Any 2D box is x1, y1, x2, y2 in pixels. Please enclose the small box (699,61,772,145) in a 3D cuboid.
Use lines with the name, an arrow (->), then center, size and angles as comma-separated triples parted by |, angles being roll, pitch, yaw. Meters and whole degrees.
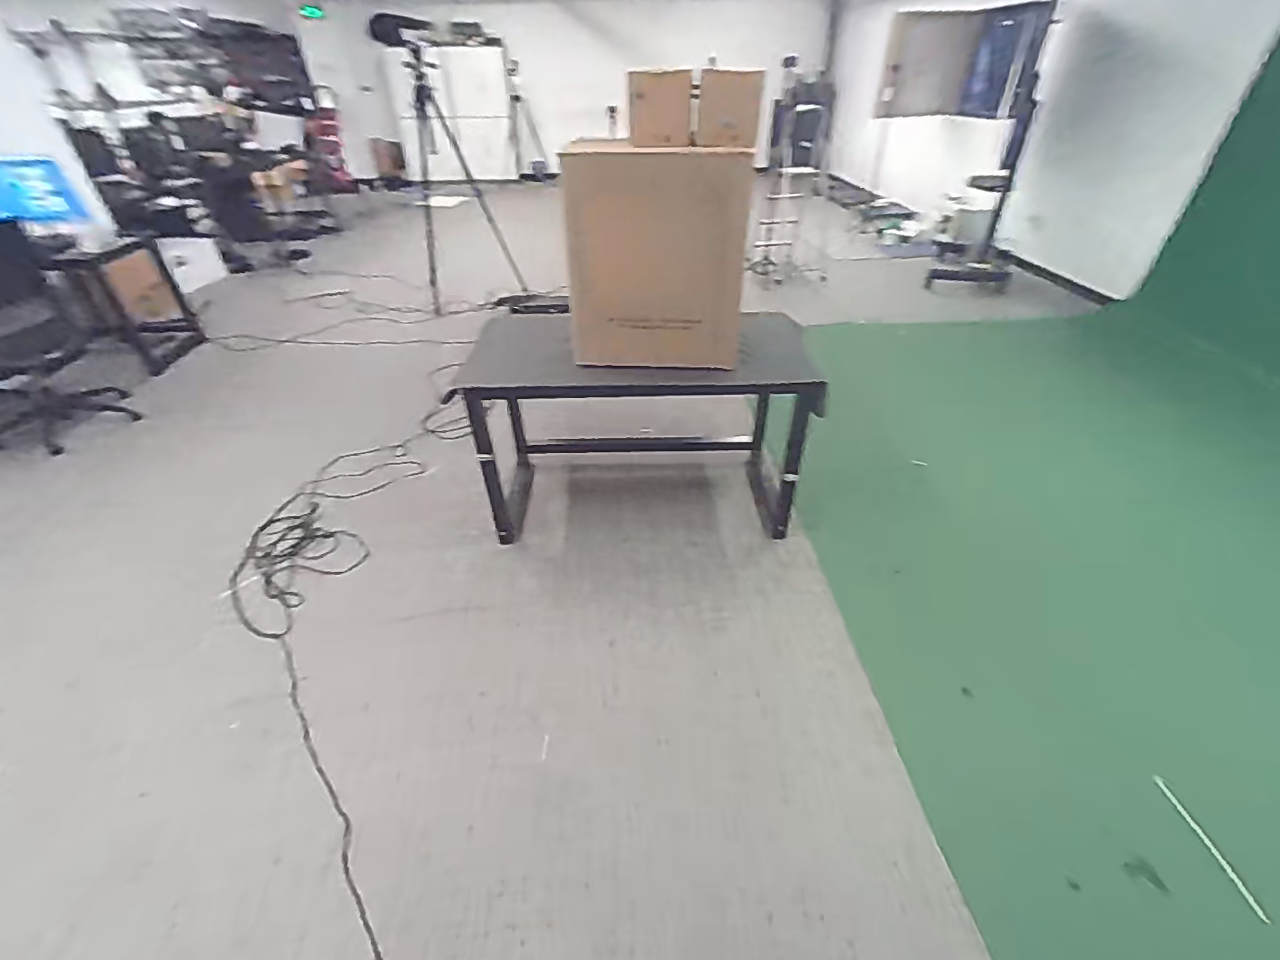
small box -> 0.249, -1.011, 1.449 | 0.168, 0.176, 0.179 | 3, 39, 2
